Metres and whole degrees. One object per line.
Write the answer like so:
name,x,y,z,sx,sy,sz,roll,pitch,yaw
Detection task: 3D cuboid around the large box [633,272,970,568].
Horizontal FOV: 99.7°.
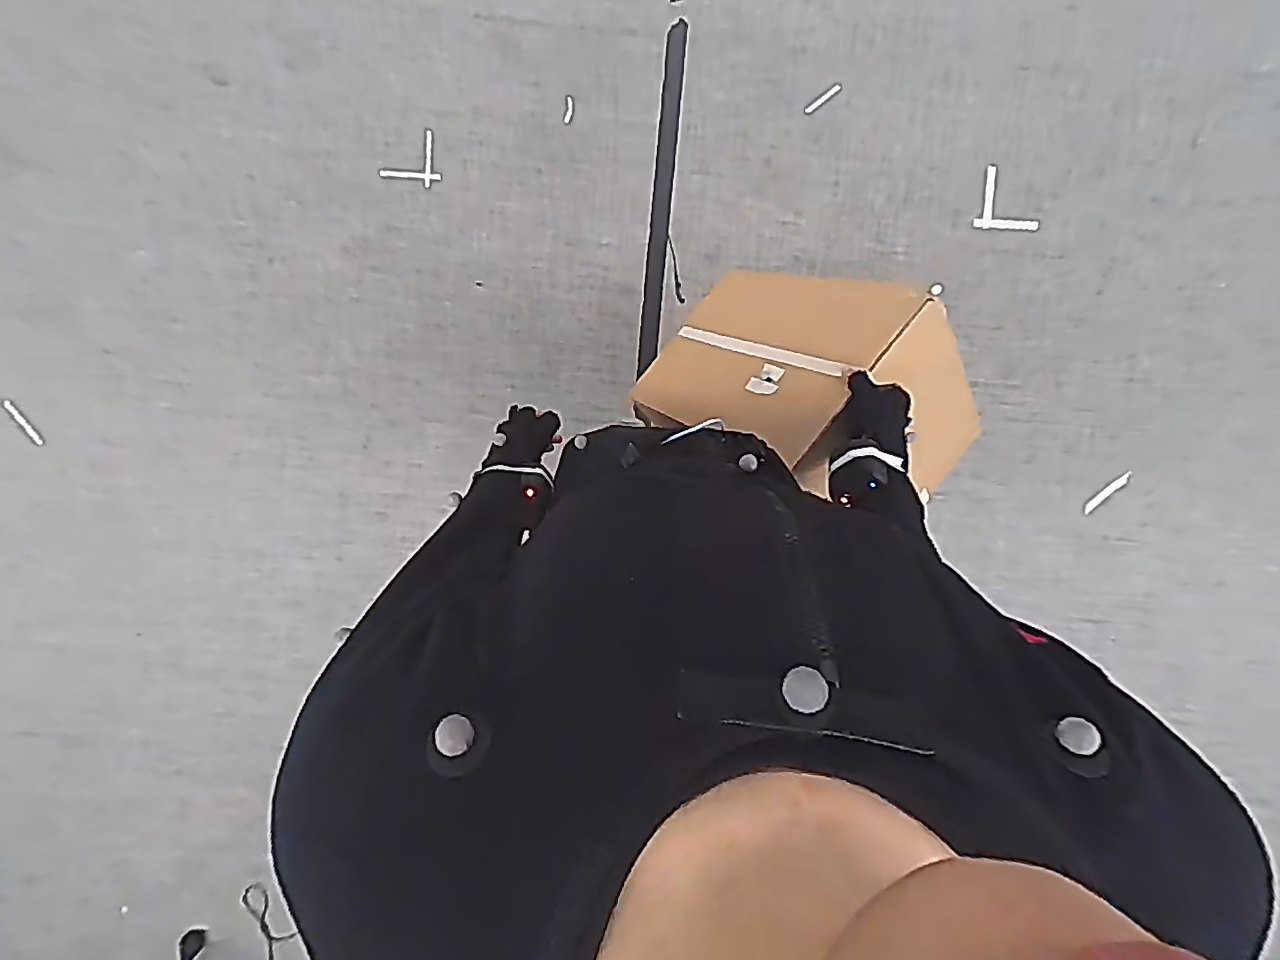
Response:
large box,0.268,-0.118,0.937,0.320,0.408,0.320,-50,130,-3
